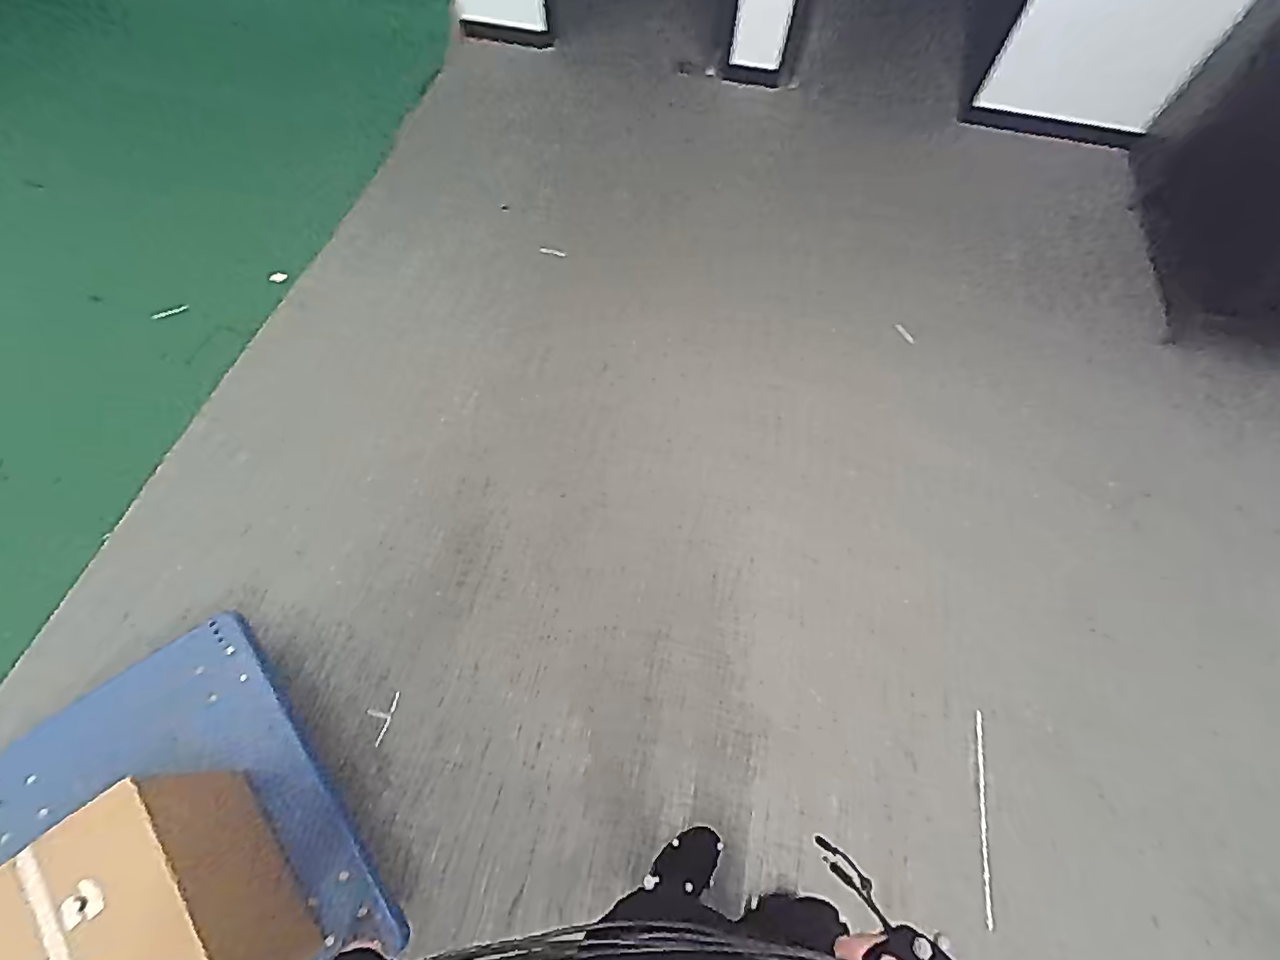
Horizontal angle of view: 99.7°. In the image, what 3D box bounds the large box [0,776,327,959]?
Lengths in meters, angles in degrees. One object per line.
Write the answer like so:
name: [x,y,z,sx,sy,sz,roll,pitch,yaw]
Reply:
large box: [-0.839,0.792,0.931,0.320,0.320,0.408,-36,69,-19]
